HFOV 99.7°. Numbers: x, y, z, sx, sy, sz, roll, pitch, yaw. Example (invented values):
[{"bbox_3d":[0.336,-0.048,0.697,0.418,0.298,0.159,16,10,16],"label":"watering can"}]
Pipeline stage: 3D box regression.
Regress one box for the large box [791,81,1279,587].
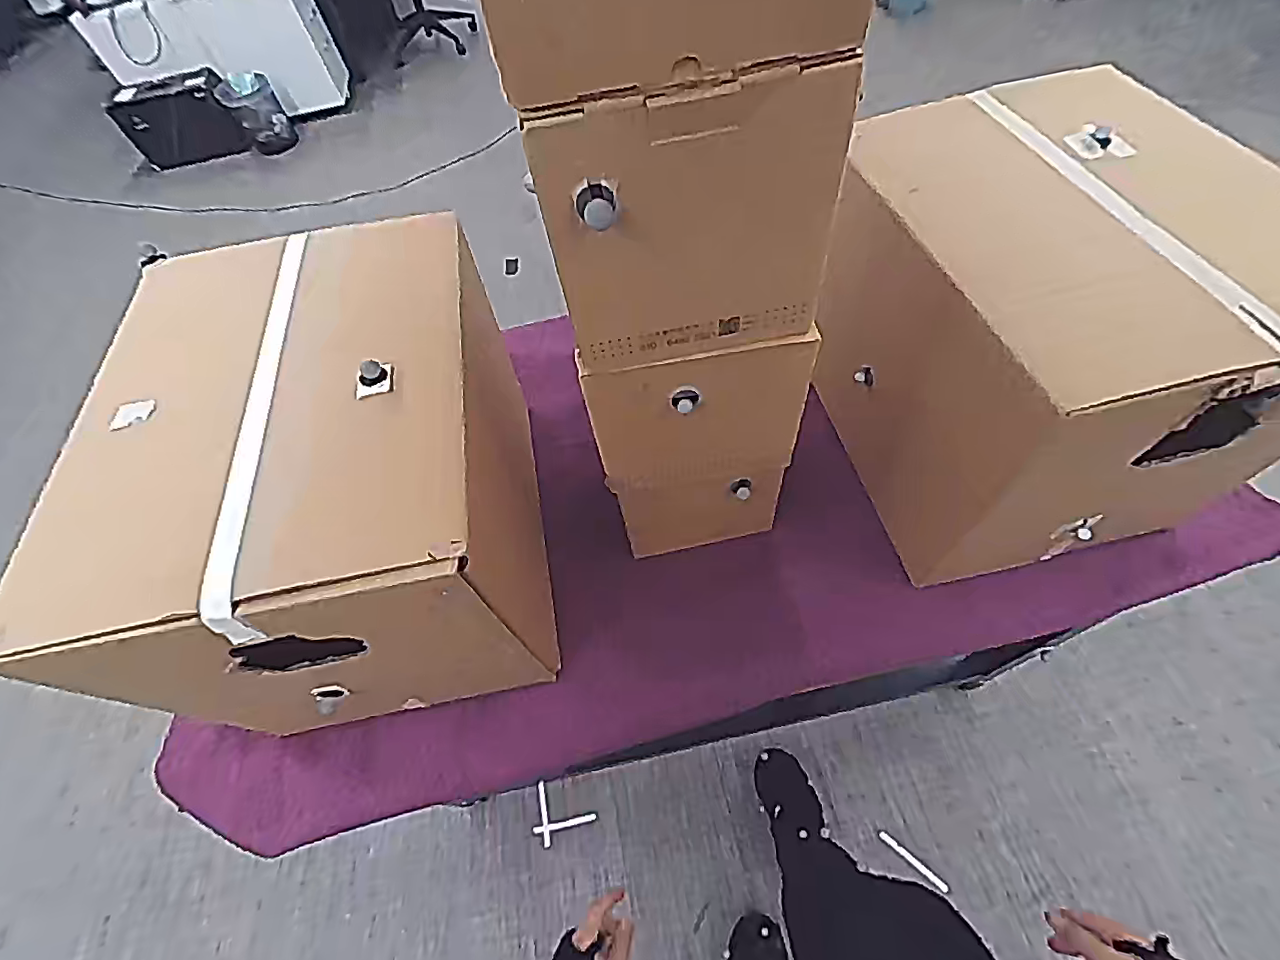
[{"bbox_3d":[0.396,-0.153,0.590,0.320,0.320,0.408,-13,56,-2],"label":"large box"}]
